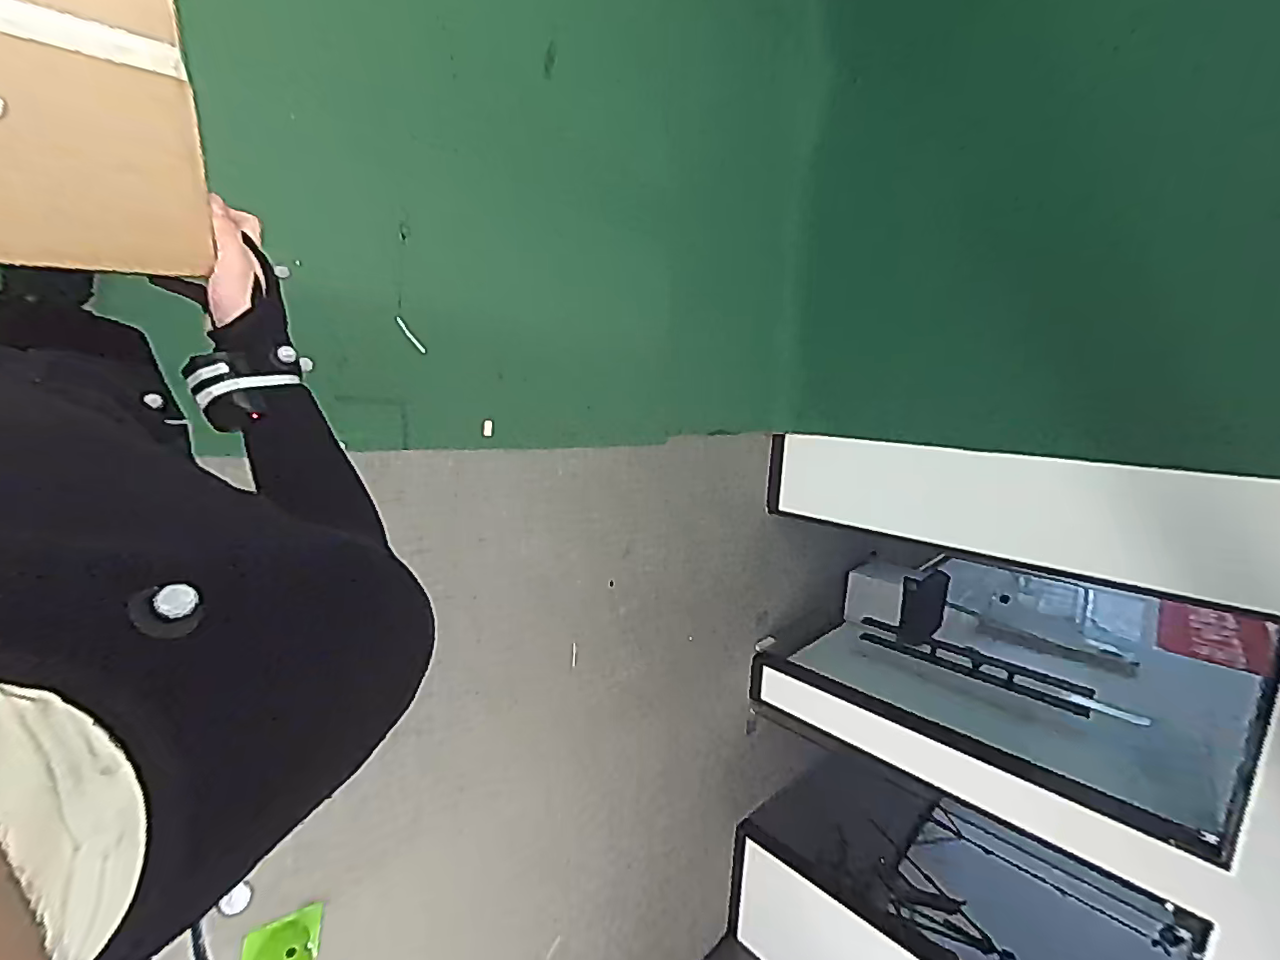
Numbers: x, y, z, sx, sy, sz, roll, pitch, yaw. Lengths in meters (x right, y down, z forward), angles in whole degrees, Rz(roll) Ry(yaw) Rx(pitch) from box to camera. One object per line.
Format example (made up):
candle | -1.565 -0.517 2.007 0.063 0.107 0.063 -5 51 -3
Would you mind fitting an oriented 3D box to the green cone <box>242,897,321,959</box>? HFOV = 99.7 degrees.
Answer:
green cone | -0.943 1.400 1.491 0.200 0.368 0.202 3 96 -47
